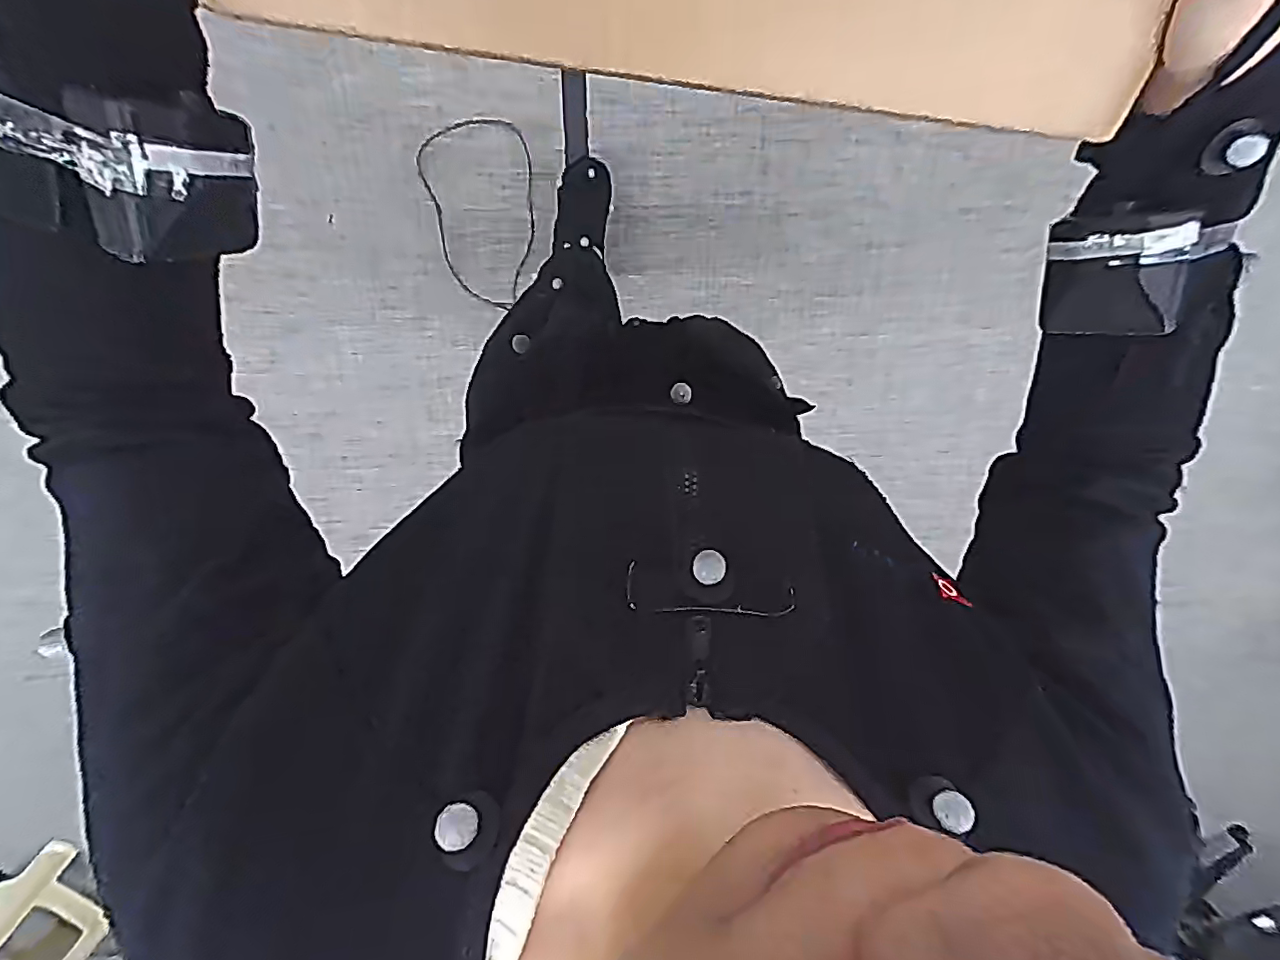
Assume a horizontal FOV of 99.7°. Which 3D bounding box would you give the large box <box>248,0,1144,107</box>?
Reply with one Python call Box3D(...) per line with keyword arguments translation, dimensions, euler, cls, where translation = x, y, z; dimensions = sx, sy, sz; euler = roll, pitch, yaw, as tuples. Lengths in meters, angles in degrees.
Box3D(translation=(0.028, -0.400, 0.265), dimensions=(0.408, 0.320, 0.320), euler=(2, 129, -8), cls="large box")
